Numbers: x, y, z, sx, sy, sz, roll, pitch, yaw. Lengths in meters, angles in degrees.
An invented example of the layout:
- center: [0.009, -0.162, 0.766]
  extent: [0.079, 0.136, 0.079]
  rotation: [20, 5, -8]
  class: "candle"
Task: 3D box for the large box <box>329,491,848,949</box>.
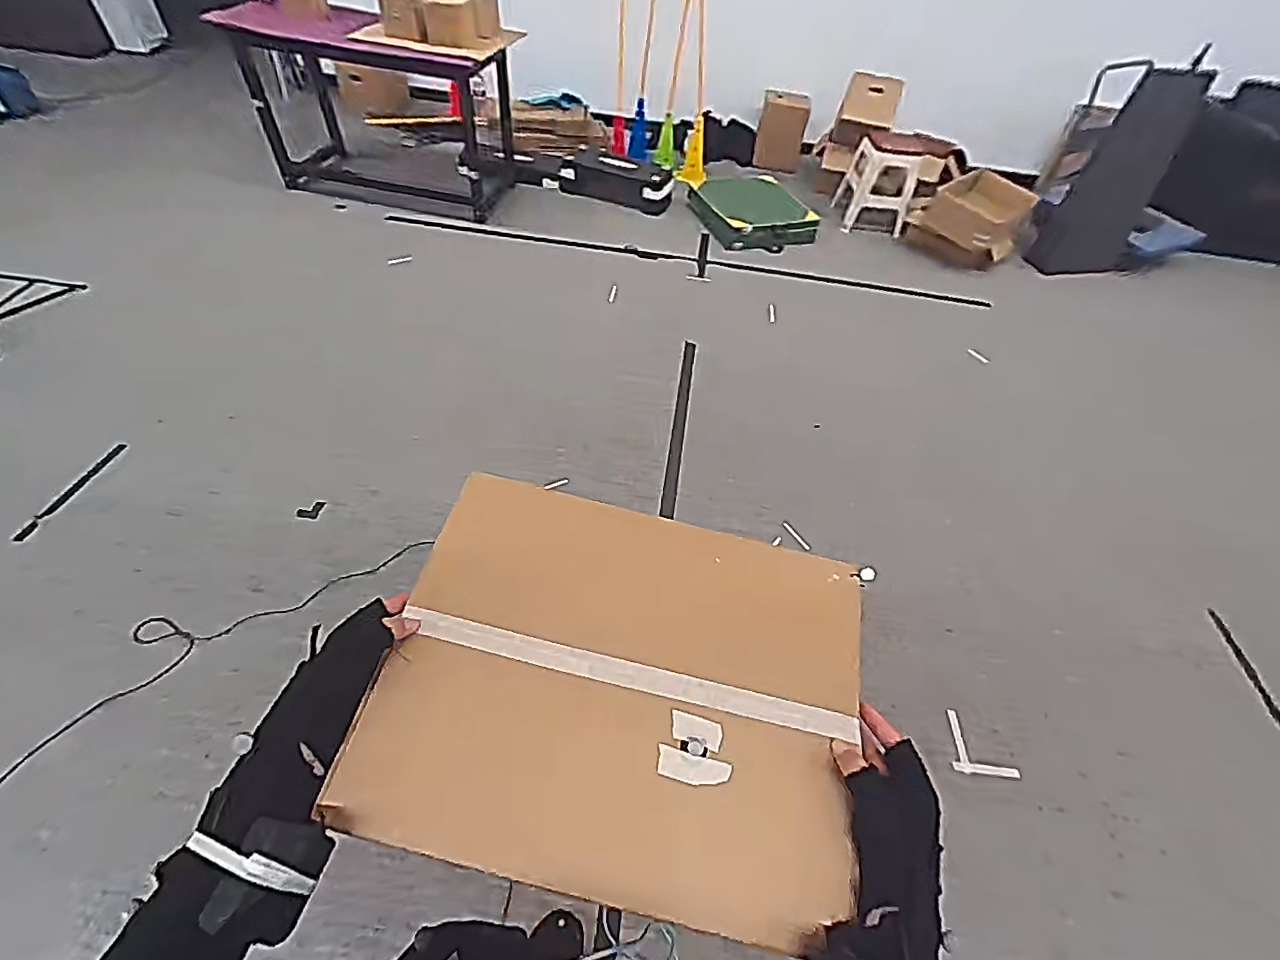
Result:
- center: [-0.030, 0.254, 0.603]
  extent: [0.408, 0.320, 0.320]
  rotation: [13, 59, 1]
  class: "large box"
